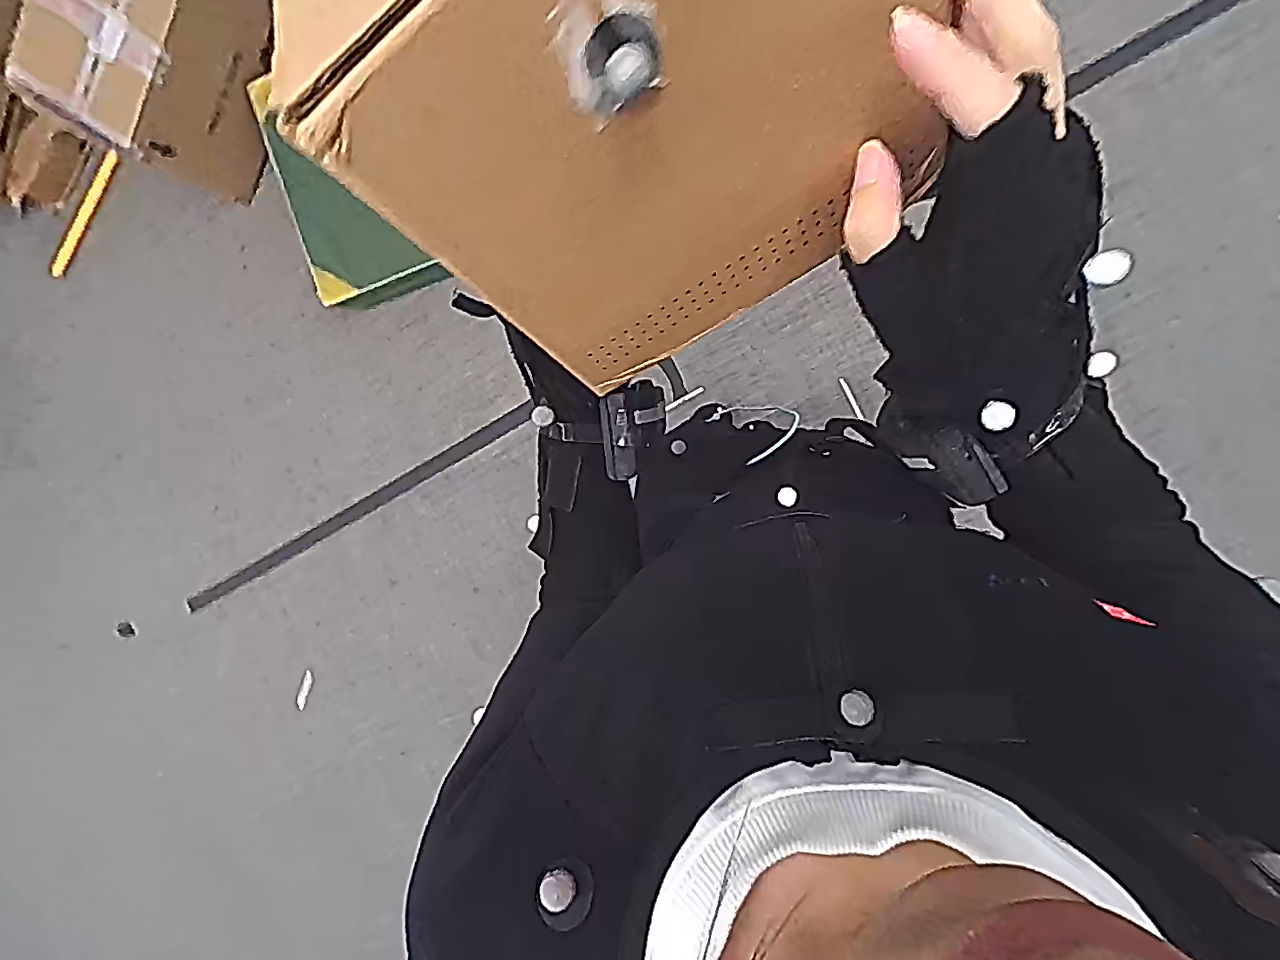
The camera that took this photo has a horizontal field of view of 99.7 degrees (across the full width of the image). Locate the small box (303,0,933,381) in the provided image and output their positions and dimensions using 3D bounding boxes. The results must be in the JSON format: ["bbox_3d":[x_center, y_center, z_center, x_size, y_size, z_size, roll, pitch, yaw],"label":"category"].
[{"bbox_3d":[-0.002,-0.171,0.221,0.179,0.176,0.168,-28,63,15],"label":"small box"}]
